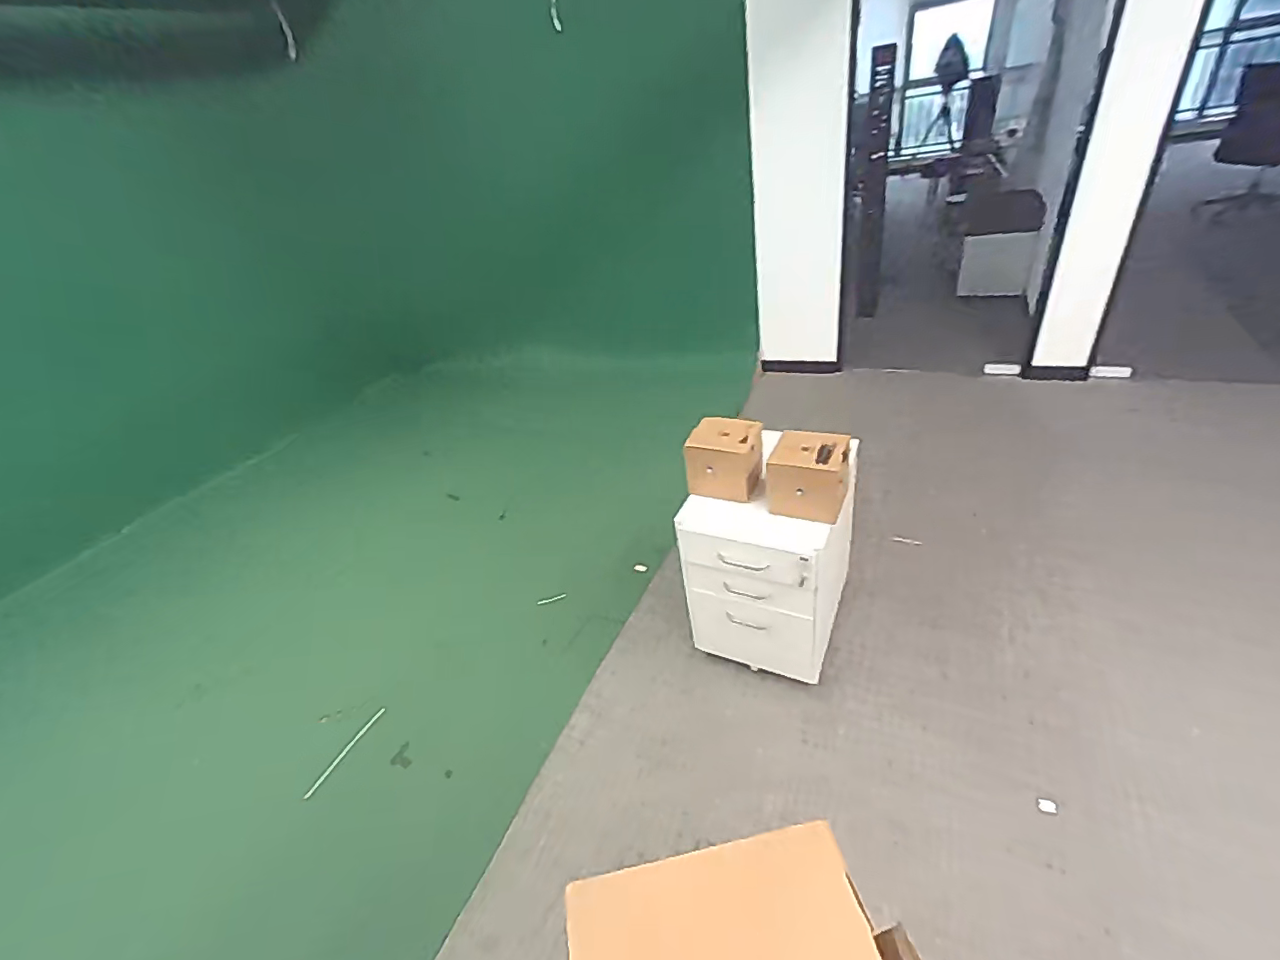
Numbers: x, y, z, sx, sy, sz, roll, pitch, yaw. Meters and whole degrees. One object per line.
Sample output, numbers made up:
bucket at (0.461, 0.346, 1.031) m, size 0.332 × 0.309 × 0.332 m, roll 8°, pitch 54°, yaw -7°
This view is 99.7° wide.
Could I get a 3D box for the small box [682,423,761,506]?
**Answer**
small box at (0.237, -0.044, 1.541) m, size 0.179 × 0.176 × 0.168 m, roll 9°, pitch 39°, yaw 26°
